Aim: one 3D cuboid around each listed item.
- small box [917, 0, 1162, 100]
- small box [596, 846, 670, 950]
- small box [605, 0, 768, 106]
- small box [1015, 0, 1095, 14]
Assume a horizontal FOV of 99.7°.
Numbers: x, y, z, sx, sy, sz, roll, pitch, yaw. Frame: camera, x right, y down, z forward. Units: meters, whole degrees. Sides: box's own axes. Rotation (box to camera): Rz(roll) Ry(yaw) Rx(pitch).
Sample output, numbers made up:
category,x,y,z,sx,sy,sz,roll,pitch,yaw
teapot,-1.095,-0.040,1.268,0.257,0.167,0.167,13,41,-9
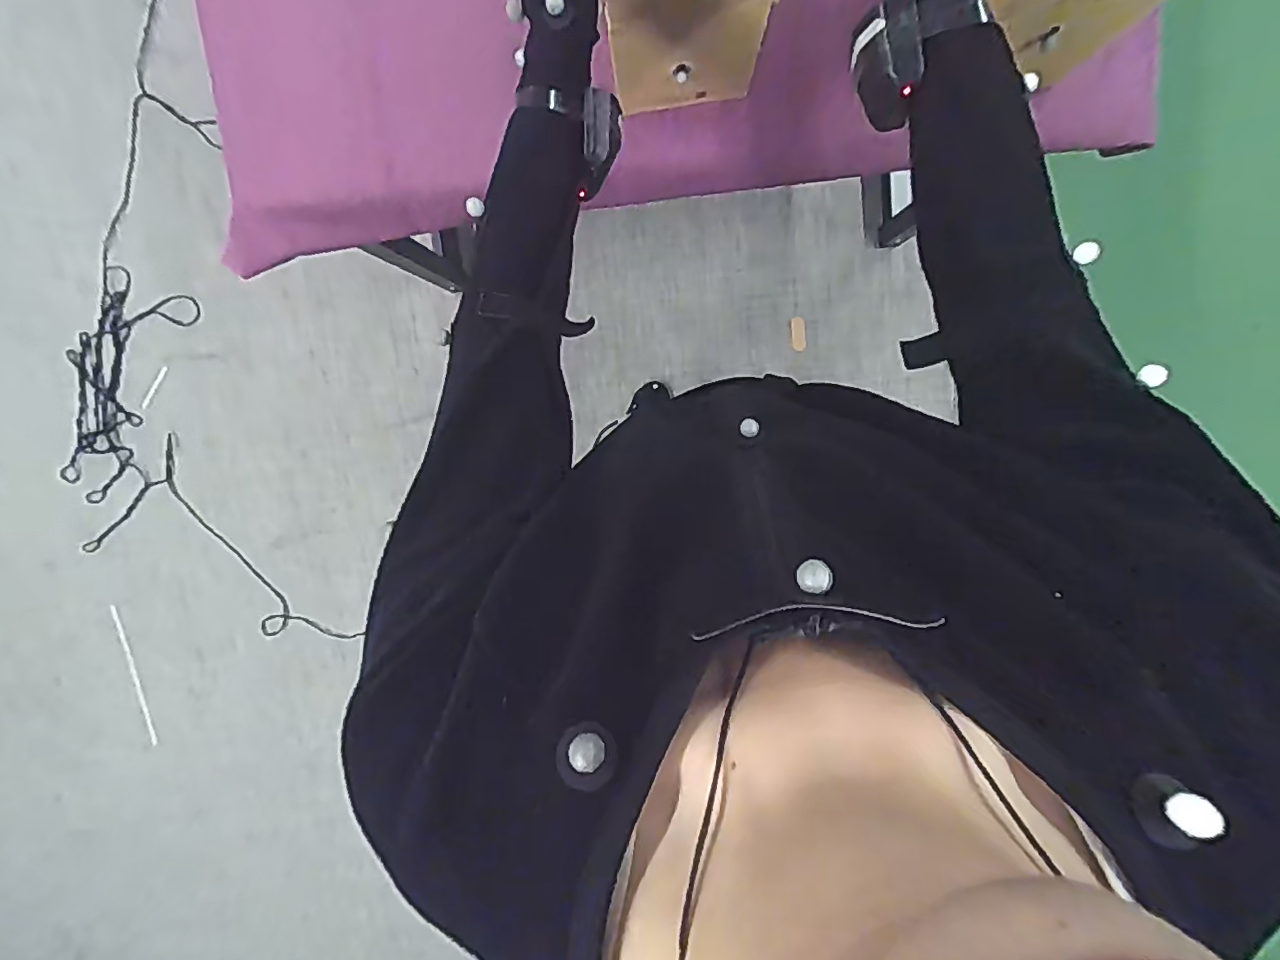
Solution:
category,x,y,z,sx,sy,sz,roll,pitch,yaw
small box,0.426,-0.554,0.586,0.179,0.176,0.168,-7,99,7
small box,-0.015,1.215,1.584,0.179,0.176,0.168,-15,96,6
small box,0.047,-0.559,0.613,0.168,0.176,0.179,-6,97,5
small box,0.416,-0.530,0.424,0.168,0.176,0.179,-7,98,7
